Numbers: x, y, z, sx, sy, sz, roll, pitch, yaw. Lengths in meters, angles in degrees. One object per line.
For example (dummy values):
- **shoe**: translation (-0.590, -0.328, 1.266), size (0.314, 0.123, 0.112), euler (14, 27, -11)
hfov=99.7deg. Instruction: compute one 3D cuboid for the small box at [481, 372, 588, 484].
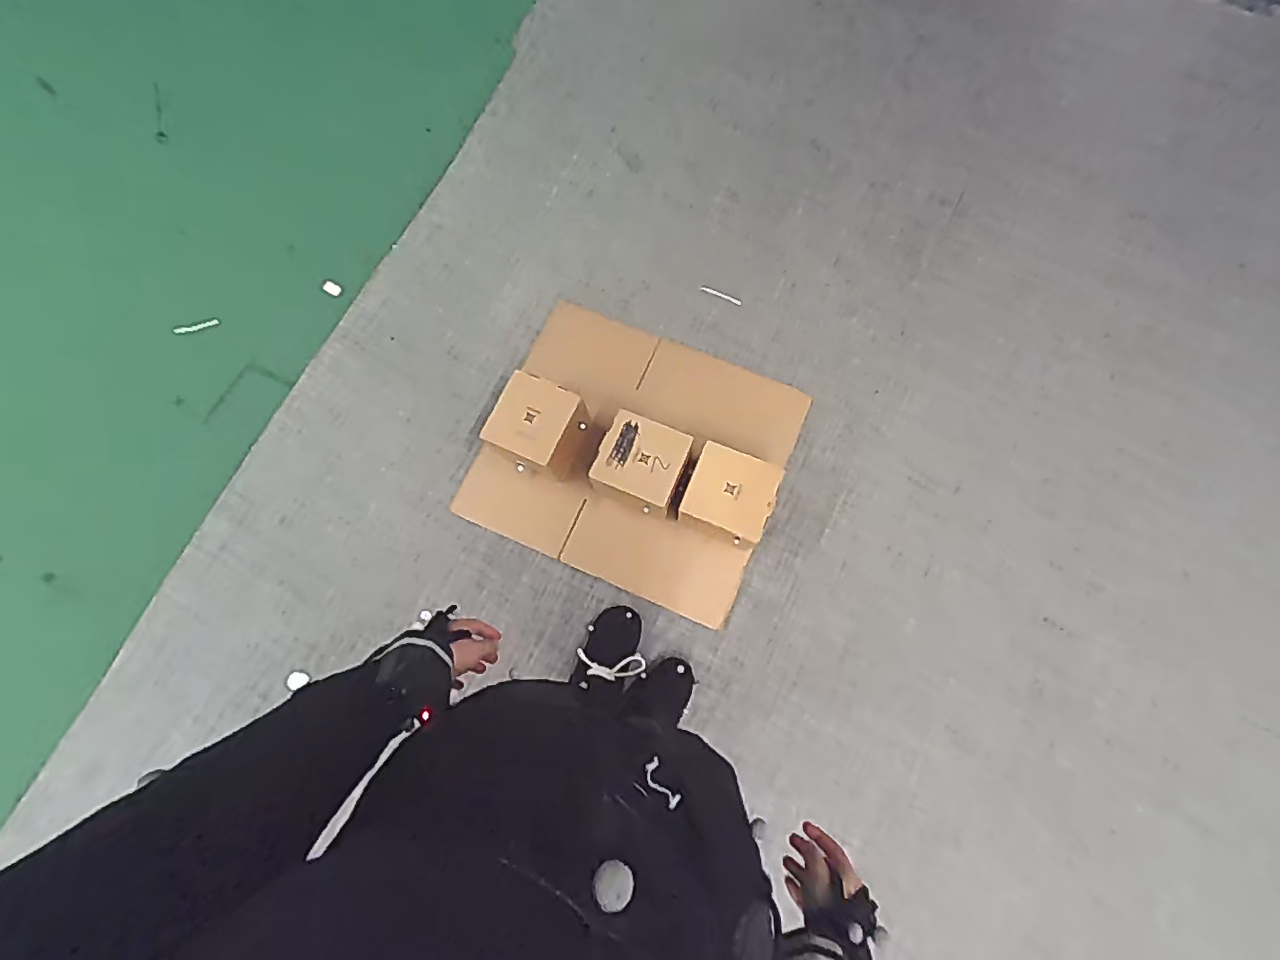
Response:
- **small box**: translation (-0.229, -0.112, 1.234), size (0.168, 0.176, 0.179), euler (23, 80, 8)
